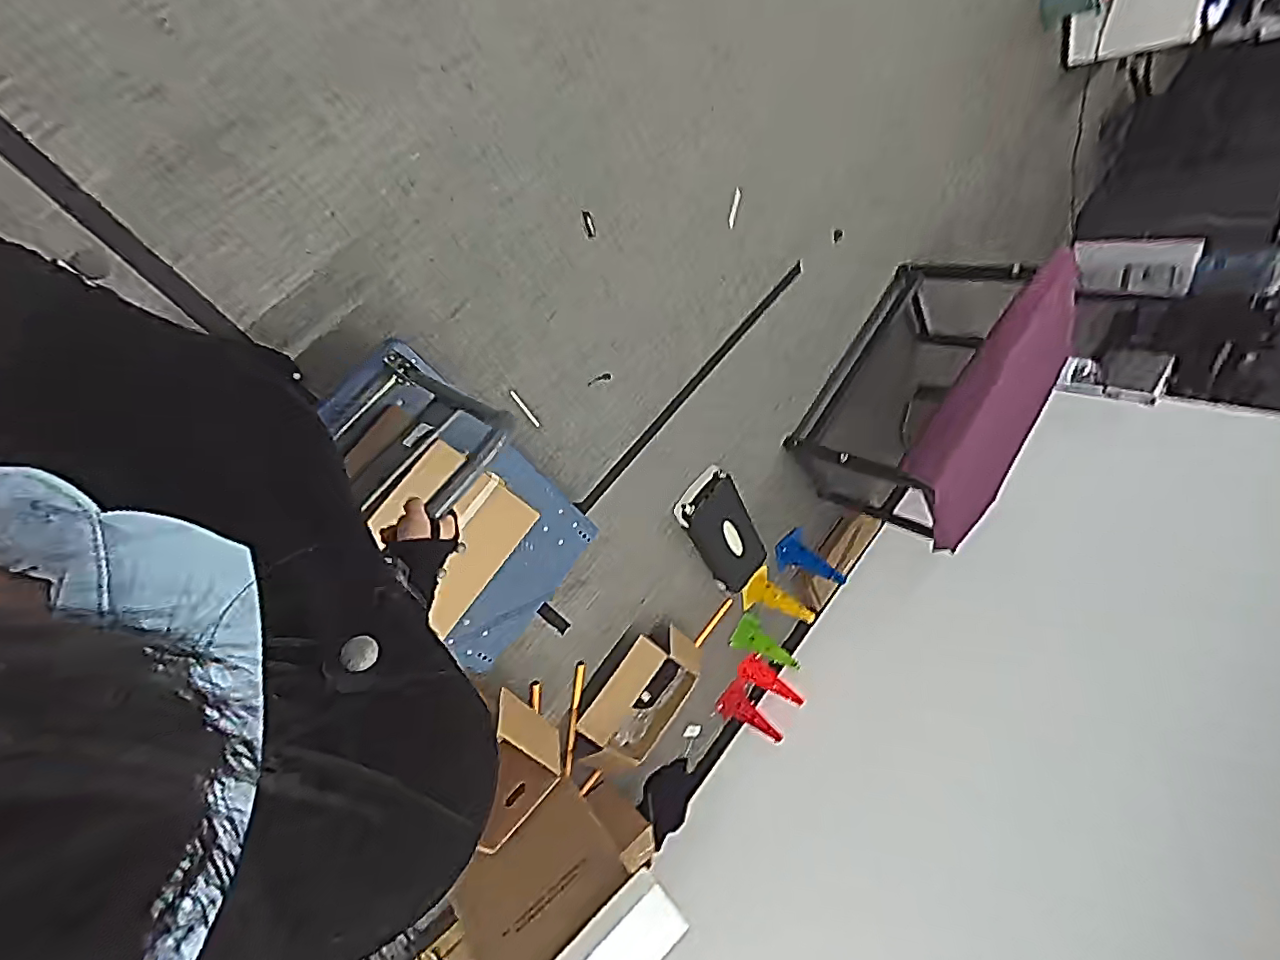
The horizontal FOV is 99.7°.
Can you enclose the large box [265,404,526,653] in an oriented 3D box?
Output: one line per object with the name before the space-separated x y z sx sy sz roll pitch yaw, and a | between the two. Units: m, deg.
large box | -0.546 0.099 1.220 0.408 0.320 0.320 -52 133 -9
